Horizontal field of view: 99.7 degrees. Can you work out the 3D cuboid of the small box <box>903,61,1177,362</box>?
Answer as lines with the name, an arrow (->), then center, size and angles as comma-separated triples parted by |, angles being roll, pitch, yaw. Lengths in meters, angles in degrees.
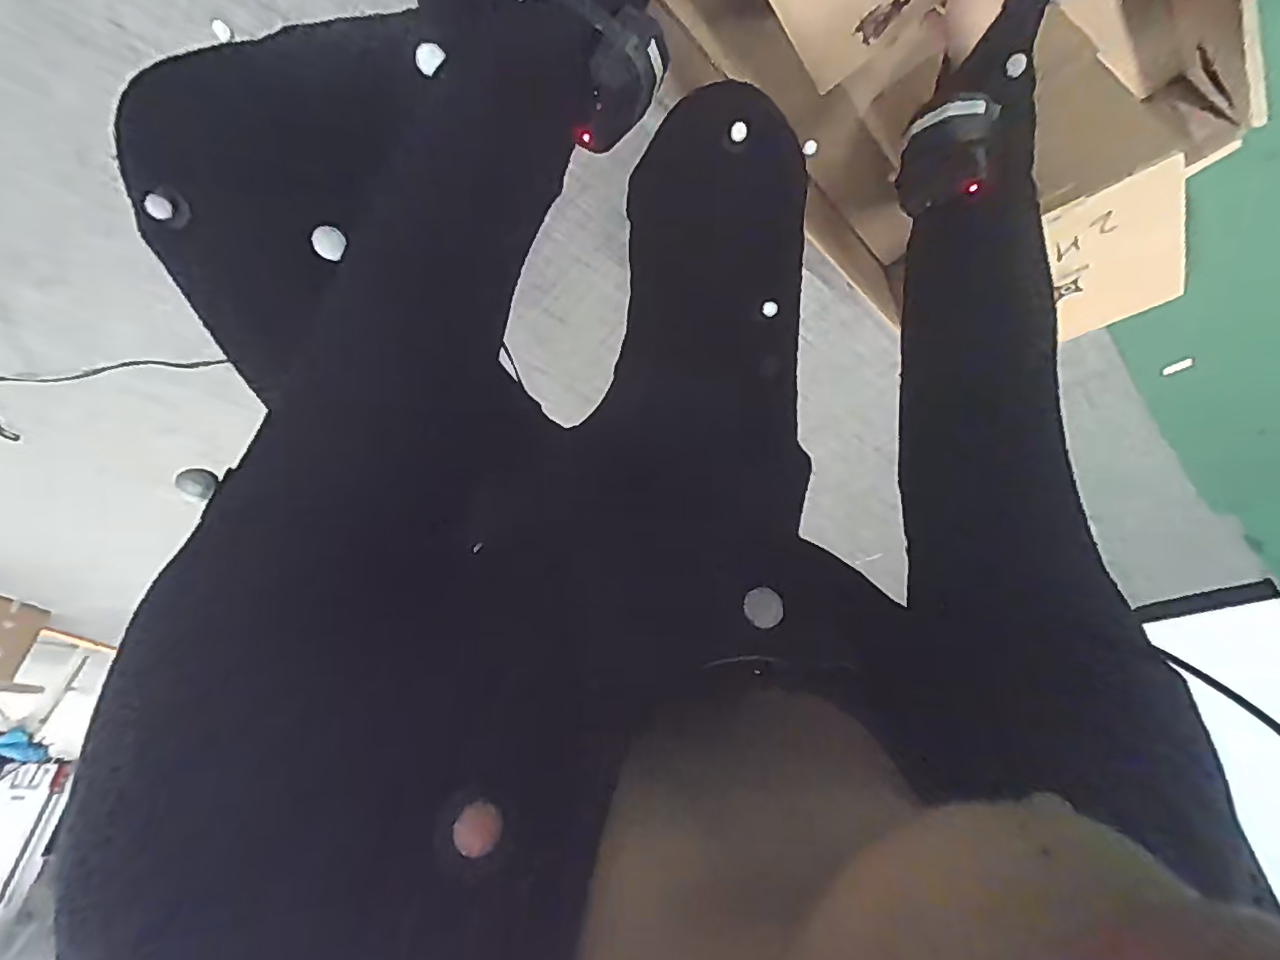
small box -> 0.391, -0.259, 0.545 | 0.168, 0.176, 0.179 | -23, 141, 33

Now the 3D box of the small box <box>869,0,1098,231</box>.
small box -> 0.394, -0.401, 0.628 | 0.179, 0.176, 0.168 | -23, 142, 34
